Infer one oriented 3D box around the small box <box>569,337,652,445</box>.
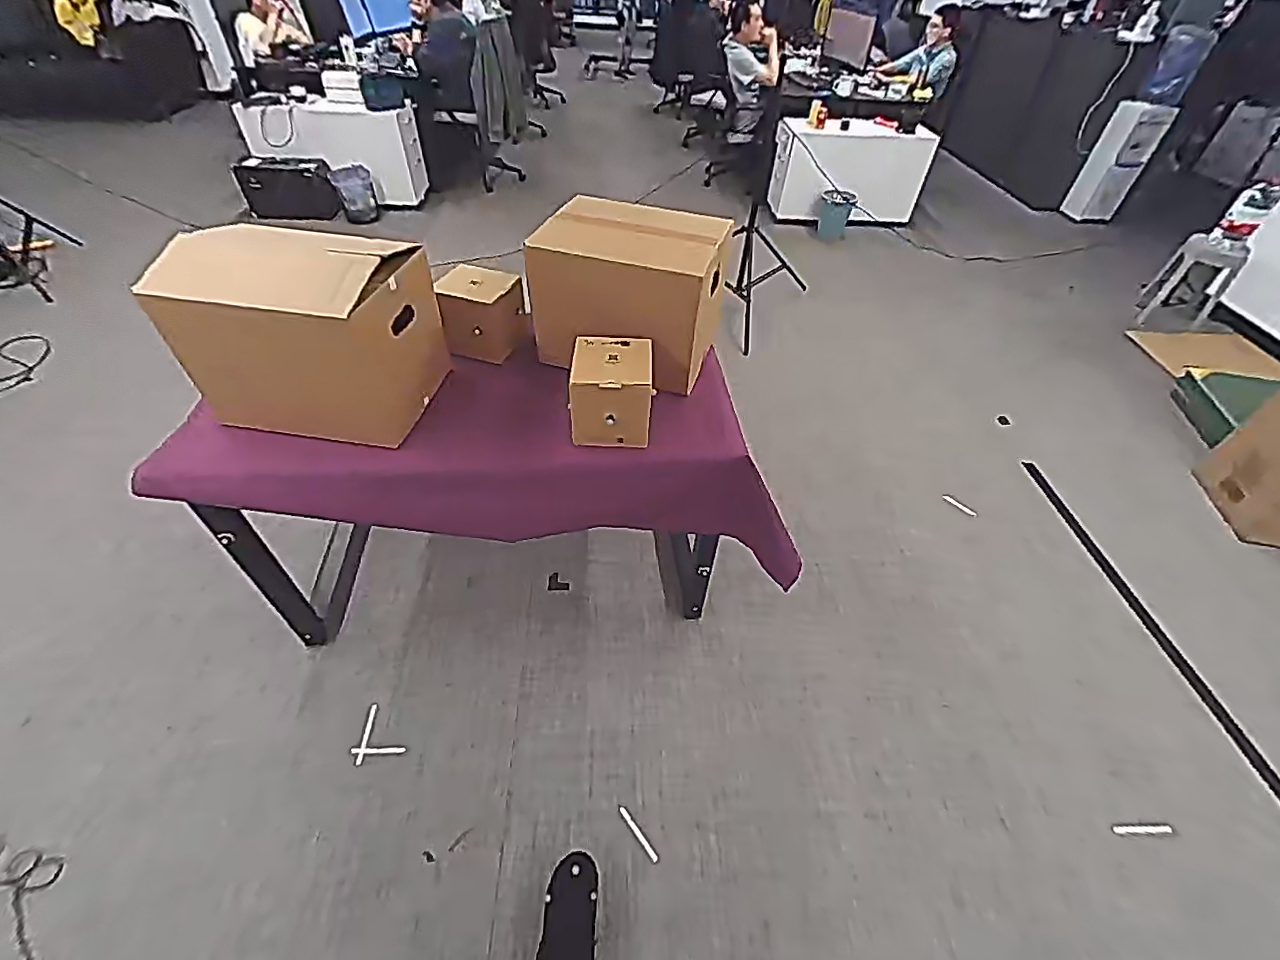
[{"bbox_3d":[-0.060,-0.191,1.178,0.168,0.176,0.179,2,46,-1],"label":"small box"}]
